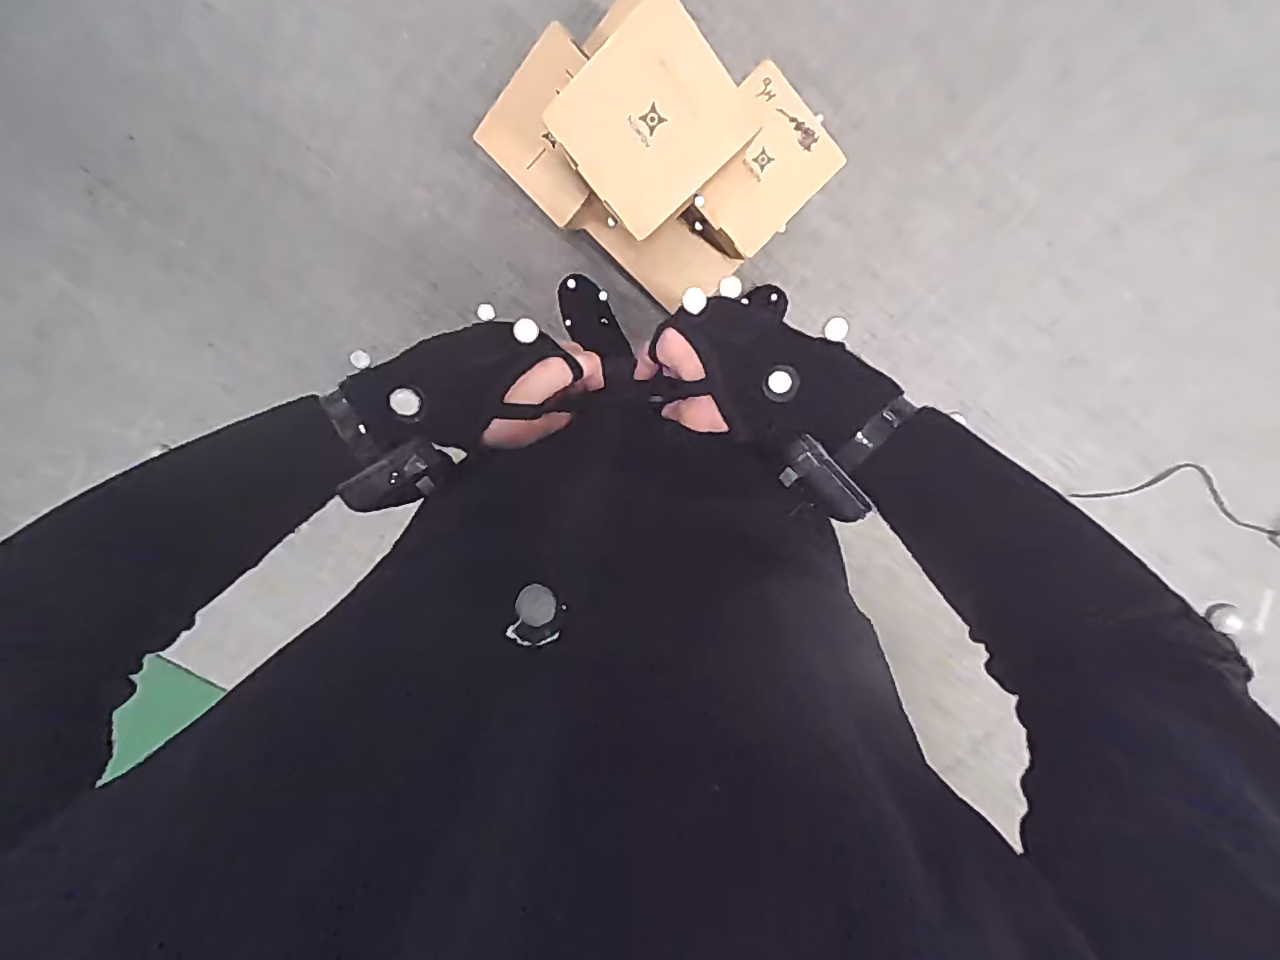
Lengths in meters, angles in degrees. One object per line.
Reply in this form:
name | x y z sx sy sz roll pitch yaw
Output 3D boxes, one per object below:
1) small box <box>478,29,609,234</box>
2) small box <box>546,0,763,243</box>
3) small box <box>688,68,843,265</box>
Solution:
small box | -0.099 -0.489 0.792 0.179 0.176 0.168 -41 105 20
small box | 0.019 -0.404 0.642 0.179 0.176 0.168 -39 106 15
small box | 0.160 -0.440 0.797 0.168 0.176 0.179 43 107 -13
